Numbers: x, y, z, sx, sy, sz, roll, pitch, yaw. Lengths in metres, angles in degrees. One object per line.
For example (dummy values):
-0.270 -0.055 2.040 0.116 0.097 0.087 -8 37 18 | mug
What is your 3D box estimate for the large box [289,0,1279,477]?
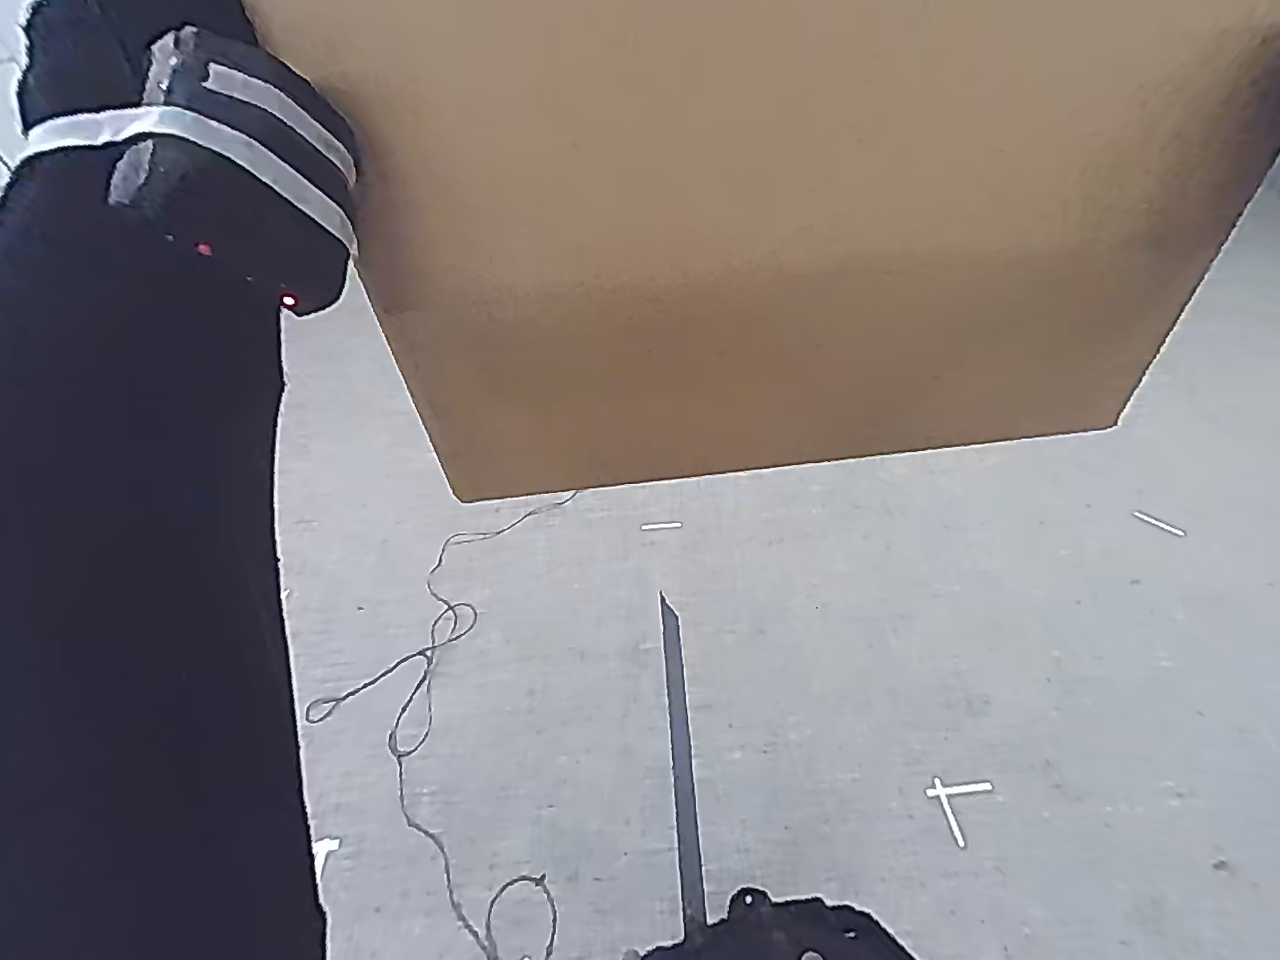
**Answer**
0.061 -0.230 0.351 0.408 0.320 0.320 -6 42 -1 | large box
